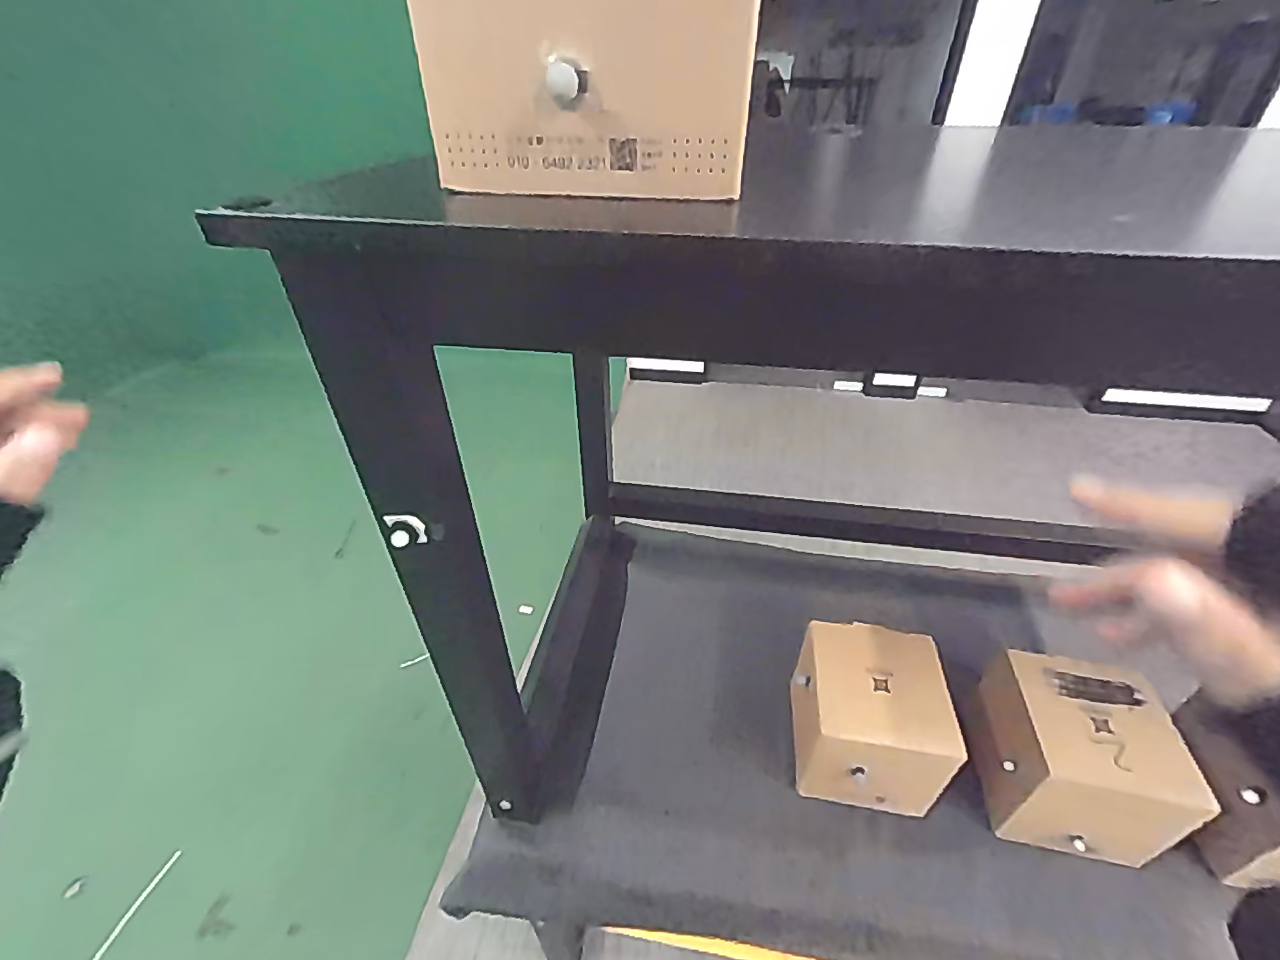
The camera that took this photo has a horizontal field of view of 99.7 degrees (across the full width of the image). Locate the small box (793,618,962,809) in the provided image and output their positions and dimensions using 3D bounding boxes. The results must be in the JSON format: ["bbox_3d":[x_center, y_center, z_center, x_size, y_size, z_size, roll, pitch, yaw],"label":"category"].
[{"bbox_3d":[0.311,0.323,0.750,0.168,0.176,0.179,6,37,8],"label":"small box"}]

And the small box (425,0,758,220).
[{"bbox_3d":[-0.017,-0.265,0.316,0.168,0.176,0.179,5,38,7],"label":"small box"}]

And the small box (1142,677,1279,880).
[{"bbox_3d":[0.794,0.376,0.667,0.168,0.176,0.179,5,36,7],"label":"small box"}]
